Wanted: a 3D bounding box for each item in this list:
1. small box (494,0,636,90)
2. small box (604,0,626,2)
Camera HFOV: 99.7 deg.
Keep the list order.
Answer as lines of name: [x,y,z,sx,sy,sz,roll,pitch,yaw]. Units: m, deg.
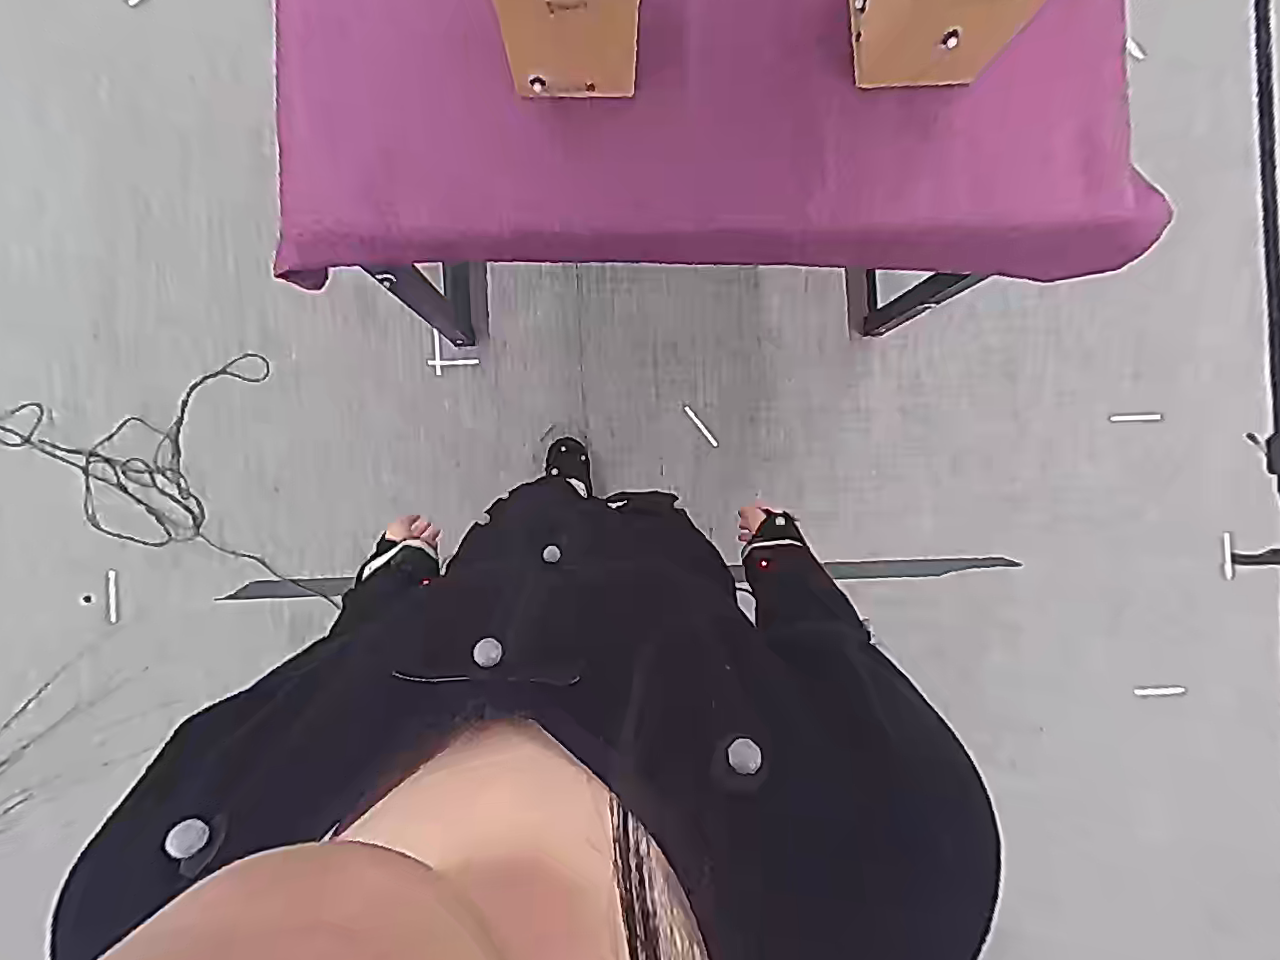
small box: [-0.089,-0.628,0.677,0.168,0.176,0.179,-2,90,-3]
small box: [-0.077,-0.616,0.515,0.168,0.176,0.179,-3,91,-2]
